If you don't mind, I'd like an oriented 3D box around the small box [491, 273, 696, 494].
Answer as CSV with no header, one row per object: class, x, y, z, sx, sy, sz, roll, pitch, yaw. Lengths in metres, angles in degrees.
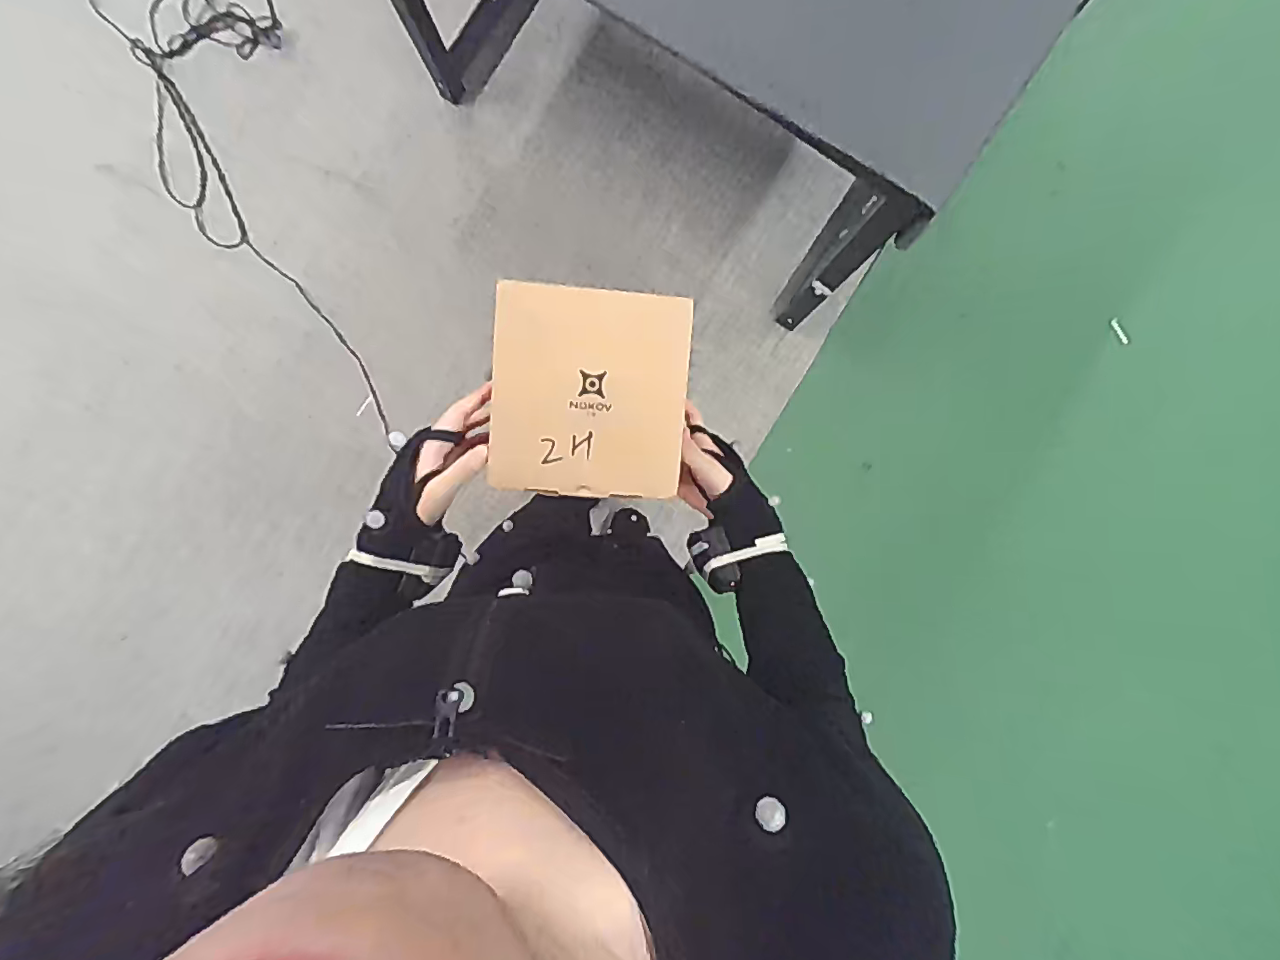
small box,-0.046,-0.089,0.542,0.168,0.176,0.179,5,97,-4
